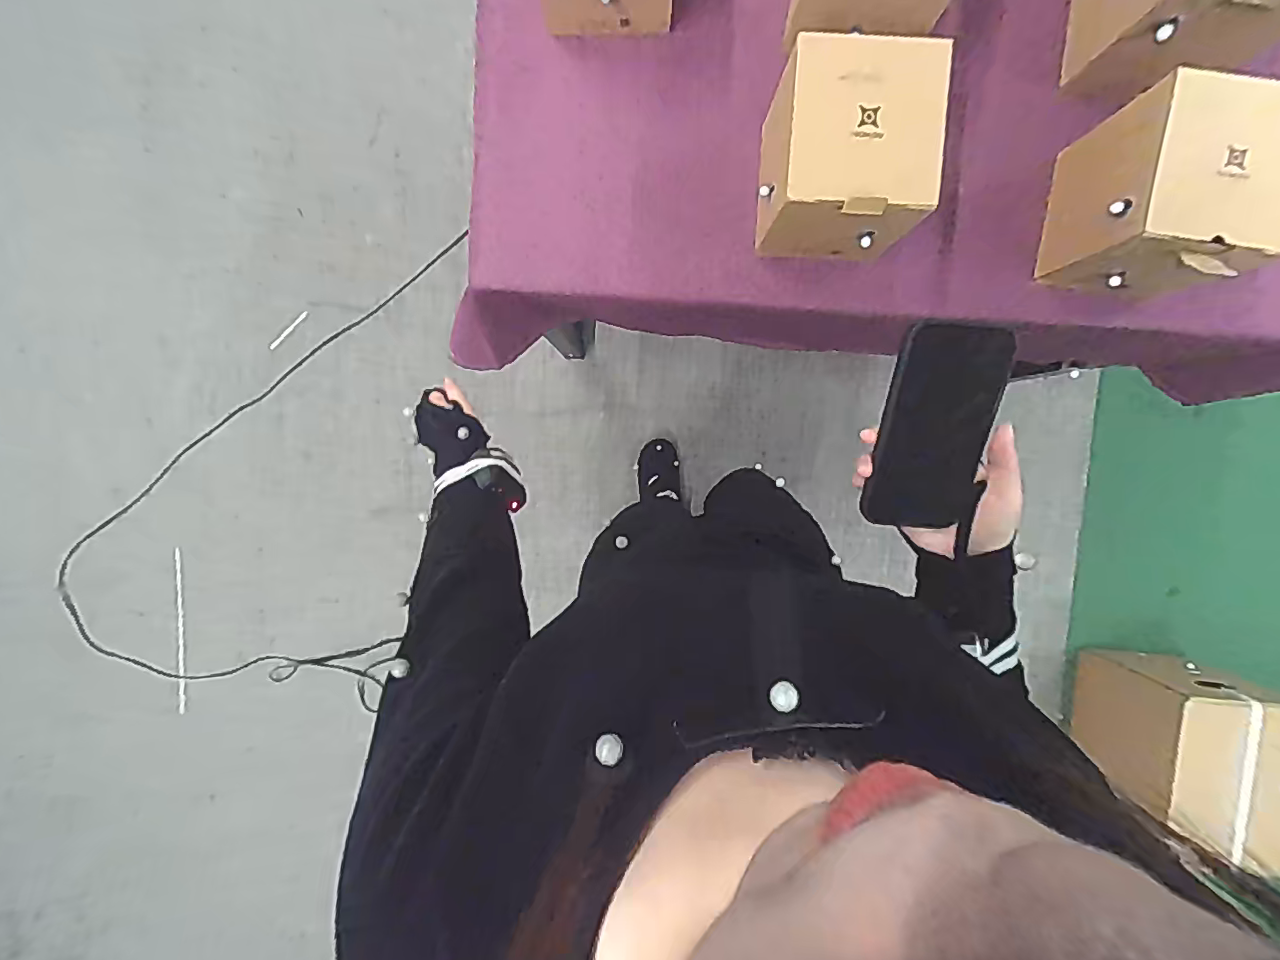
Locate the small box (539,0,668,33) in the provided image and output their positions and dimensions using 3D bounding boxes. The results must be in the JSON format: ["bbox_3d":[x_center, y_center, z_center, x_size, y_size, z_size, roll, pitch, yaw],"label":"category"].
[{"bbox_3d":[-0.047,-0.673,0.637,0.168,0.176,0.179,-1,95,0],"label":"small box"}]

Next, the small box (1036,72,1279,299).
[{"bbox_3d":[0.625,-0.338,0.654,0.168,0.176,0.179,8,94,0],"label":"small box"}]

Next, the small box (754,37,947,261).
[{"bbox_3d":[0.238,-0.382,0.656,0.168,0.176,0.179,3,93,0],"label":"small box"}]

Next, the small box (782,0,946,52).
[{"bbox_3d":[0.278,-0.635,0.637,0.168,0.176,0.179,10,94,0],"label":"small box"}]
